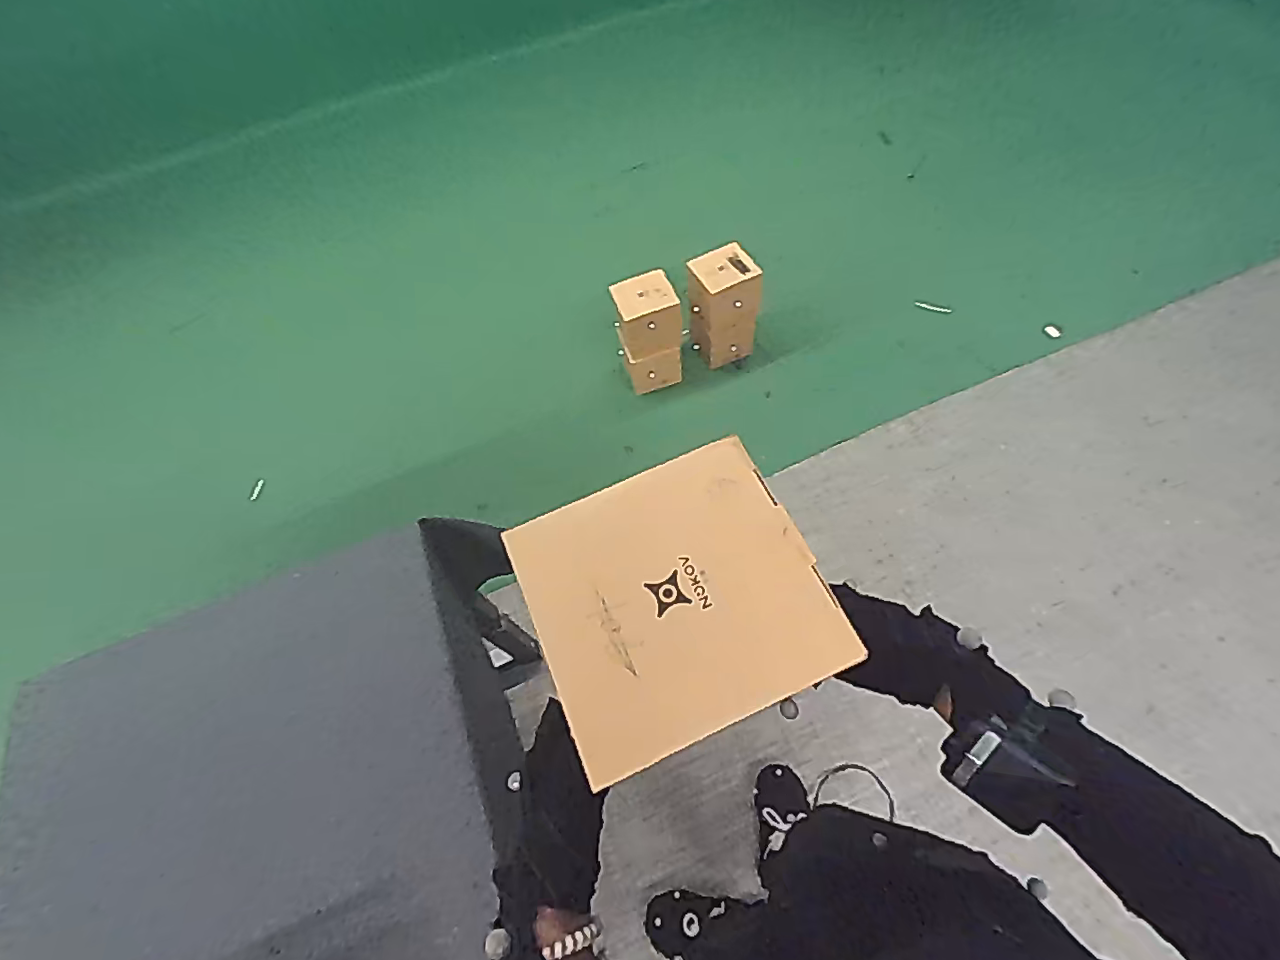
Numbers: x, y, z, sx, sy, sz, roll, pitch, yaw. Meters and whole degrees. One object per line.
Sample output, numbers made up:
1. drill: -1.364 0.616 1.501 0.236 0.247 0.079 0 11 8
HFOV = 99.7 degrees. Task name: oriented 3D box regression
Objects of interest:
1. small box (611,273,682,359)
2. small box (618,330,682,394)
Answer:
1. small box: 0.024 -0.506 1.690 0.179 0.176 0.168 -19 60 -4
2. small box: 0.037 -0.412 1.826 0.168 0.176 0.179 -18 59 -3
